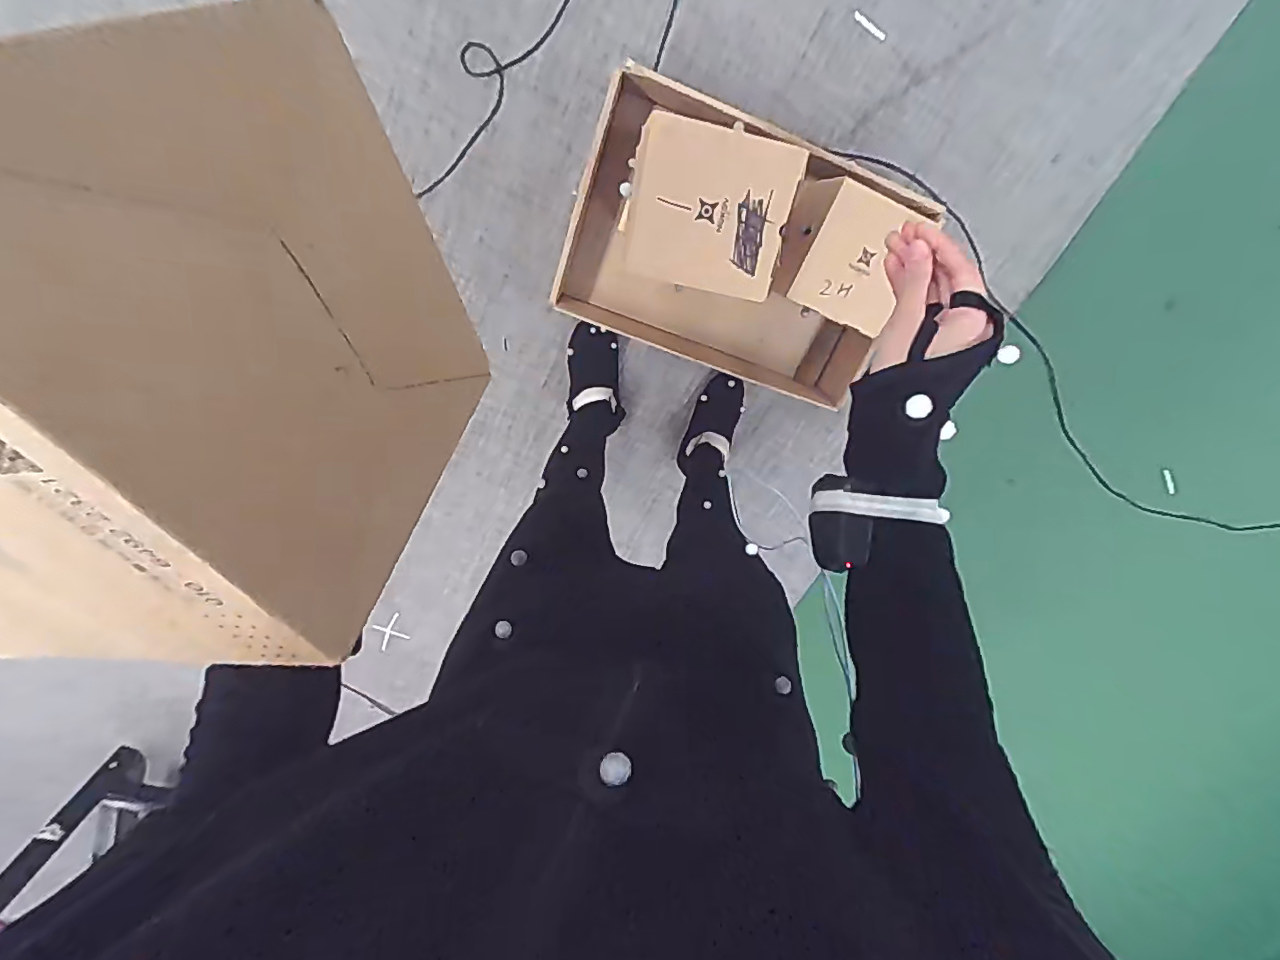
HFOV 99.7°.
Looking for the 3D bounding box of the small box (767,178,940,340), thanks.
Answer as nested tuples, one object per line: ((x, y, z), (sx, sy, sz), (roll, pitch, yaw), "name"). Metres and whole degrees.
((0.319, -0.350, 0.858), (0.168, 0.176, 0.179), (20, 114, -11), "small box")

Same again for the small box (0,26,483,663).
((-0.190, -0.044, 0.210), (0.176, 0.179, 0.168), (-2, 136, 15), "small box")

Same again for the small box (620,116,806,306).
((0.075, -0.331, 0.675), (0.179, 0.176, 0.168), (9, 117, -8), "small box")
